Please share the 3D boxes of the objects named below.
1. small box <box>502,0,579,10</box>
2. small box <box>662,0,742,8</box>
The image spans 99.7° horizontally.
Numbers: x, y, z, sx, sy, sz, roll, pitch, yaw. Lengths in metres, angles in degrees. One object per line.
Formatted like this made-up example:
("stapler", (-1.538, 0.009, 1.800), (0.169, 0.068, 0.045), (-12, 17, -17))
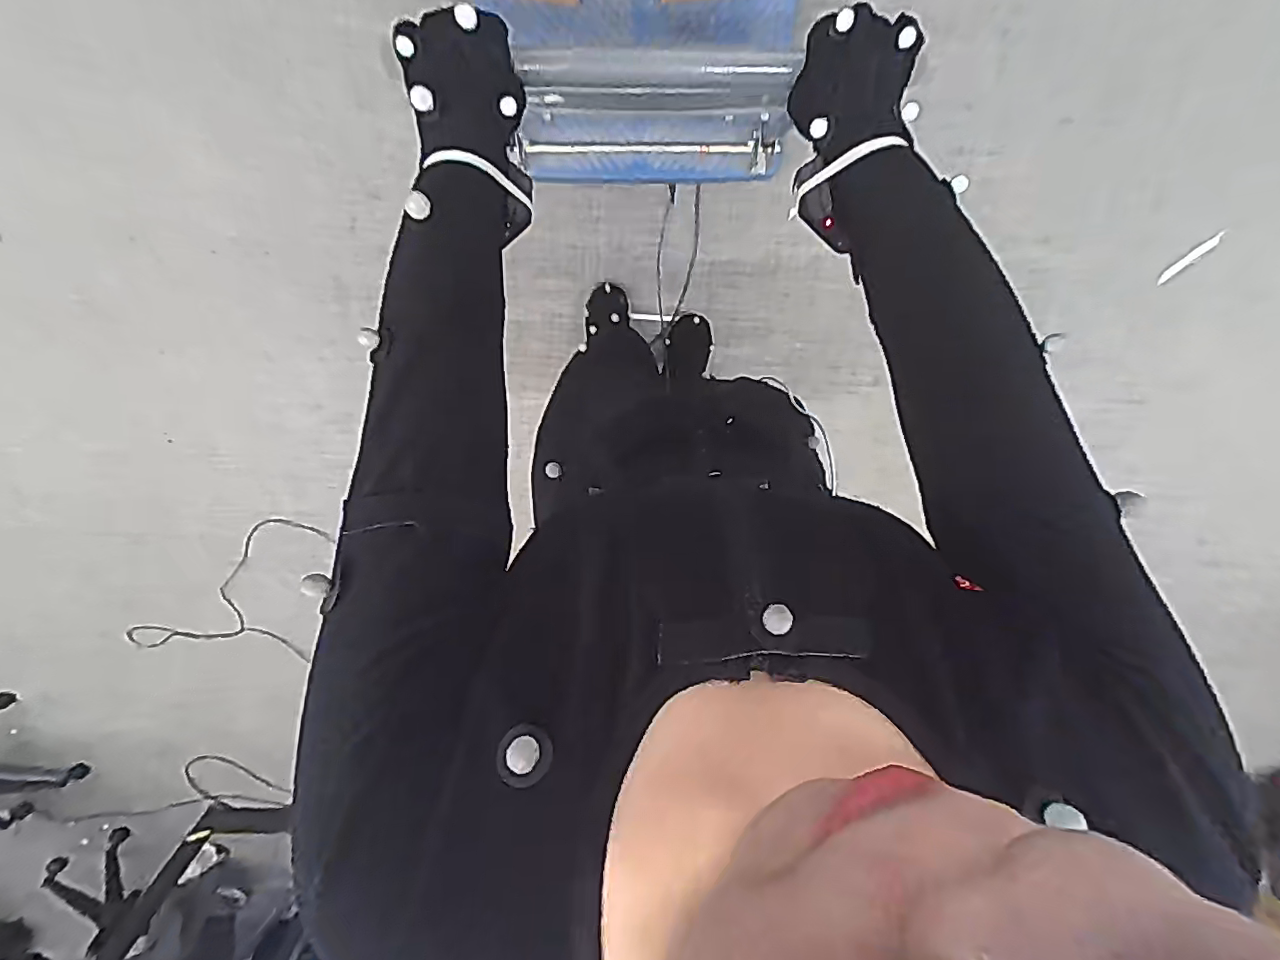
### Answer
("small box", (-0.187, -0.896, 0.867), (0.179, 0.176, 0.168), (4, 114, -5))
("small box", (0.117, -0.899, 0.871), (0.179, 0.176, 0.168), (-6, 114, 1))
